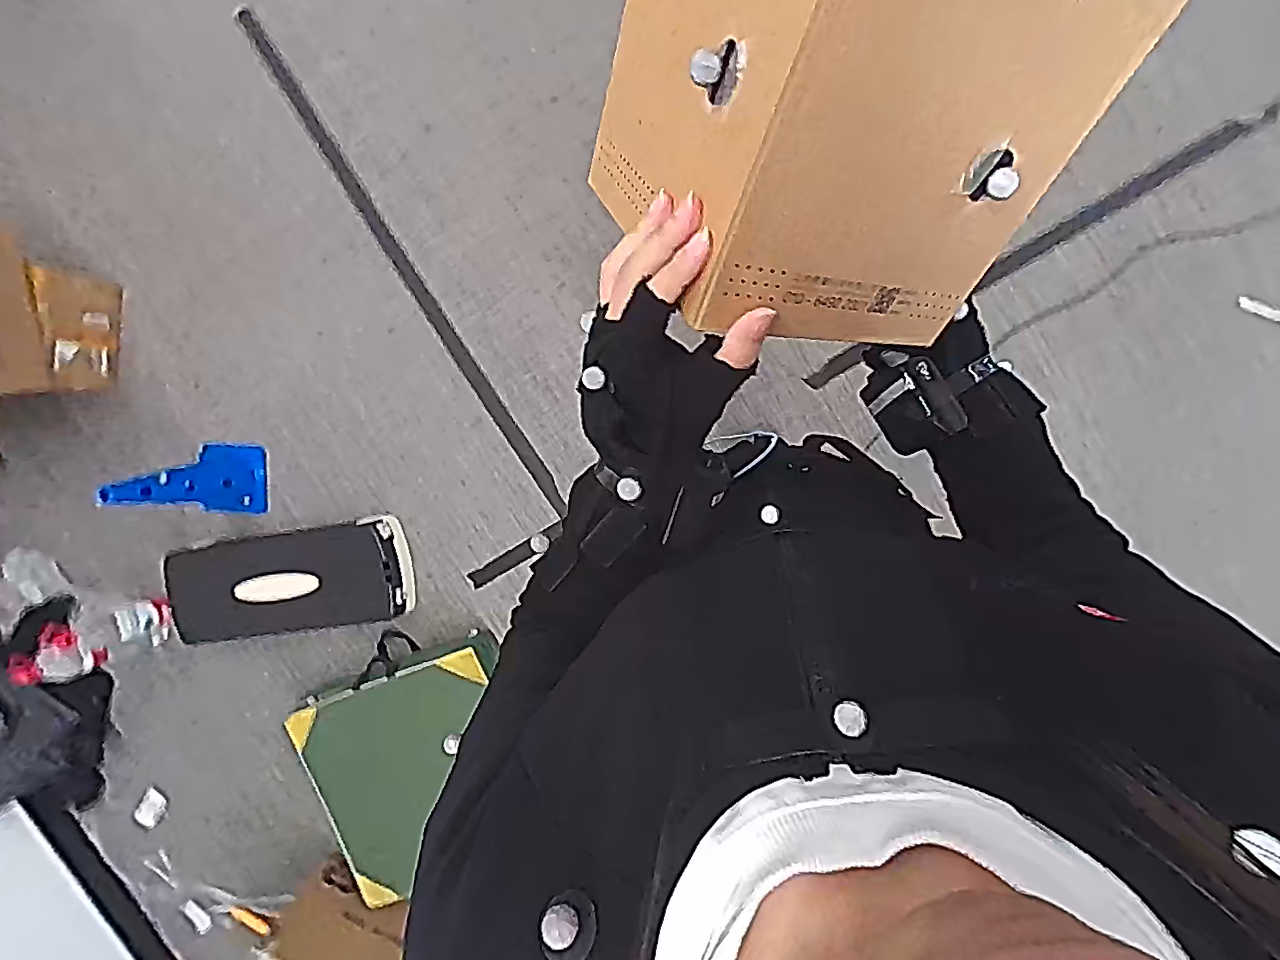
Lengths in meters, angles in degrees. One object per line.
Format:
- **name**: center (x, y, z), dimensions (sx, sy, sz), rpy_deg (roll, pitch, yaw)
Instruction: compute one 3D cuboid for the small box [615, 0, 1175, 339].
- **small box**: center (0.100, -0.197, 0.296), dimensions (0.168, 0.179, 0.176), rpy_deg (-1, 137, -25)
